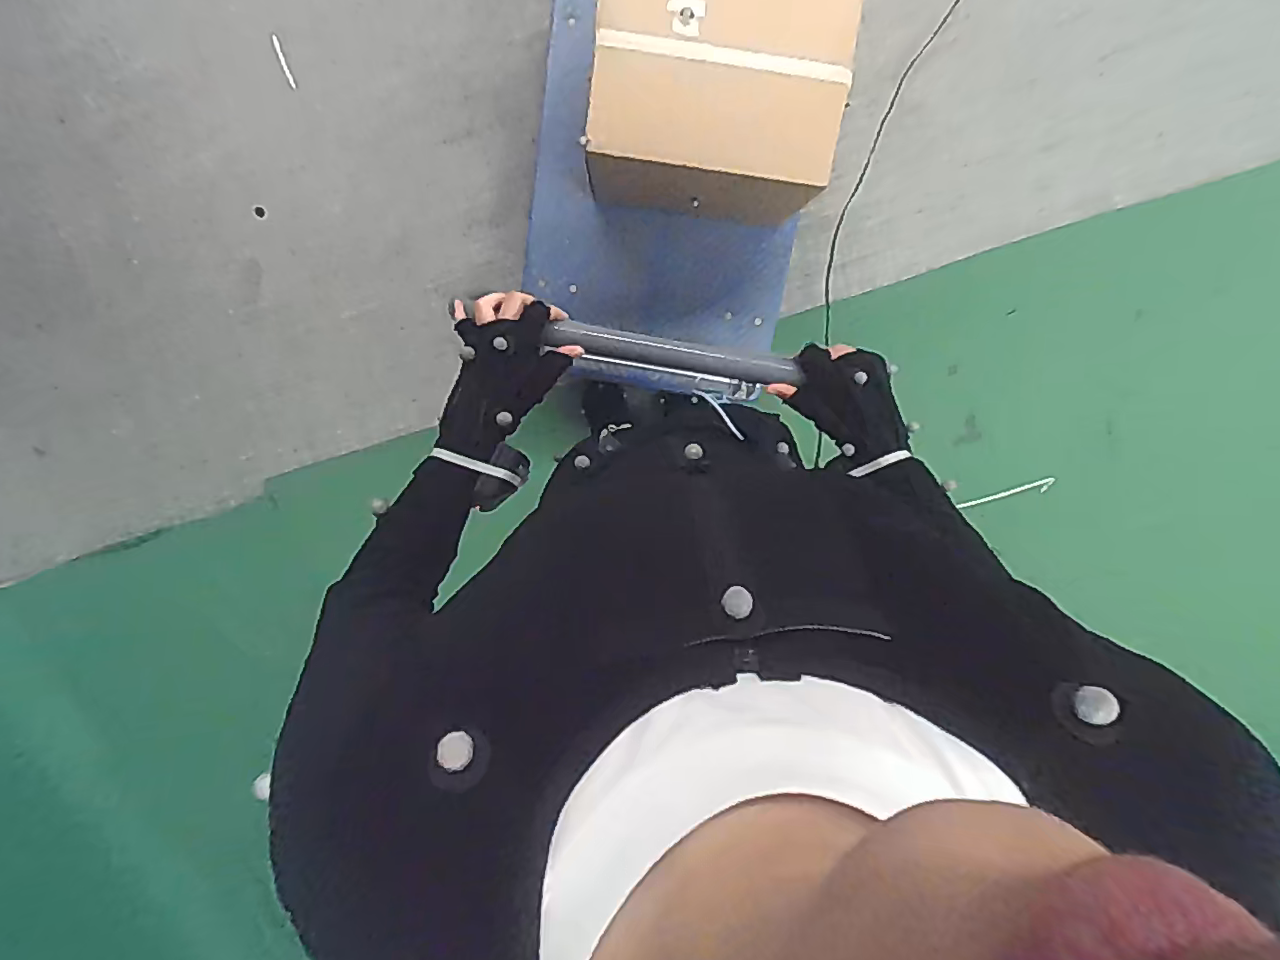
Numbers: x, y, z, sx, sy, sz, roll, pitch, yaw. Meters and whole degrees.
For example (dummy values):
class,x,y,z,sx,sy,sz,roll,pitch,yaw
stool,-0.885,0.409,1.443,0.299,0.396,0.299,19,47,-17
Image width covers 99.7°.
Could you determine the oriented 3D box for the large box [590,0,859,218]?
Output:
class,x,y,z,sx,sy,sz,roll,pitch,yaw
large box,0.130,-0.693,0.991,0.408,0.320,0.320,6,103,-2
